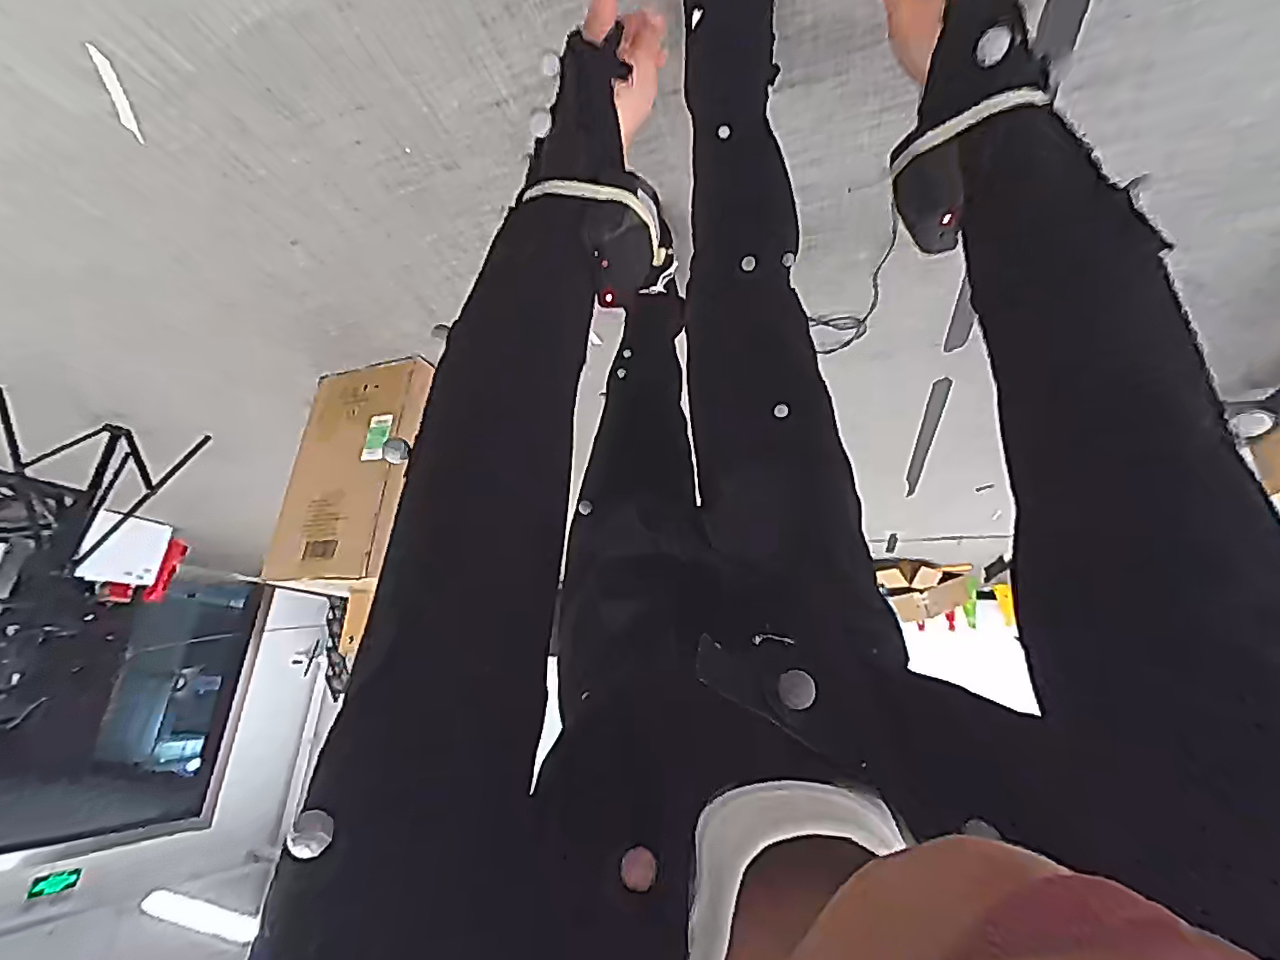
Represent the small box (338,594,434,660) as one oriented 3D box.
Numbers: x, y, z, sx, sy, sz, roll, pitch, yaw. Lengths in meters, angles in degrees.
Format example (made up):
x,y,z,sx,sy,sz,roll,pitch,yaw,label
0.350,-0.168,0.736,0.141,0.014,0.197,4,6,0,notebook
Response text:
x,y,z,sx,sy,sz,roll,pitch,yaw,label
-0.702,0.413,1.516,0.179,0.176,0.168,-4,159,20,small box
